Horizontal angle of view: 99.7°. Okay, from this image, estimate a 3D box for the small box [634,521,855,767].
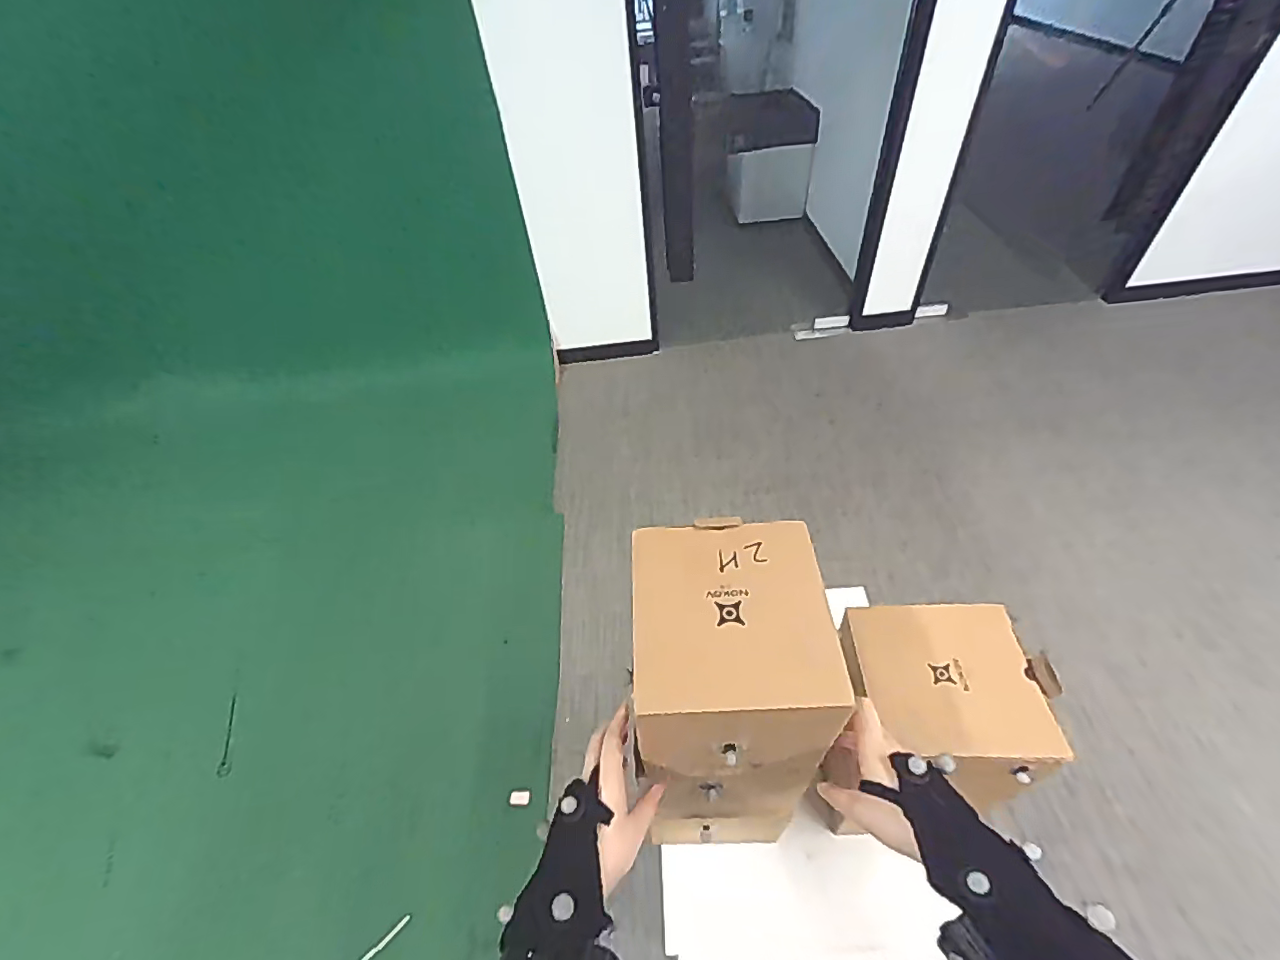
[{"bbox_3d":[0.082,0.160,0.511,0.168,0.176,0.179,-2,48,1],"label":"small box"}]

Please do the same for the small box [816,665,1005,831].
[{"bbox_3d":[0.345,0.369,0.741,0.179,0.176,0.168,-5,47,5],"label":"small box"}]

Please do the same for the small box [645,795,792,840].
[{"bbox_3d":[0.100,0.388,0.748,0.179,0.176,0.168,-3,48,3],"label":"small box"}]

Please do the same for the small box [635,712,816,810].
[{"bbox_3d":[0.087,0.274,0.630,0.179,0.176,0.168,-2,48,1],"label":"small box"}]
